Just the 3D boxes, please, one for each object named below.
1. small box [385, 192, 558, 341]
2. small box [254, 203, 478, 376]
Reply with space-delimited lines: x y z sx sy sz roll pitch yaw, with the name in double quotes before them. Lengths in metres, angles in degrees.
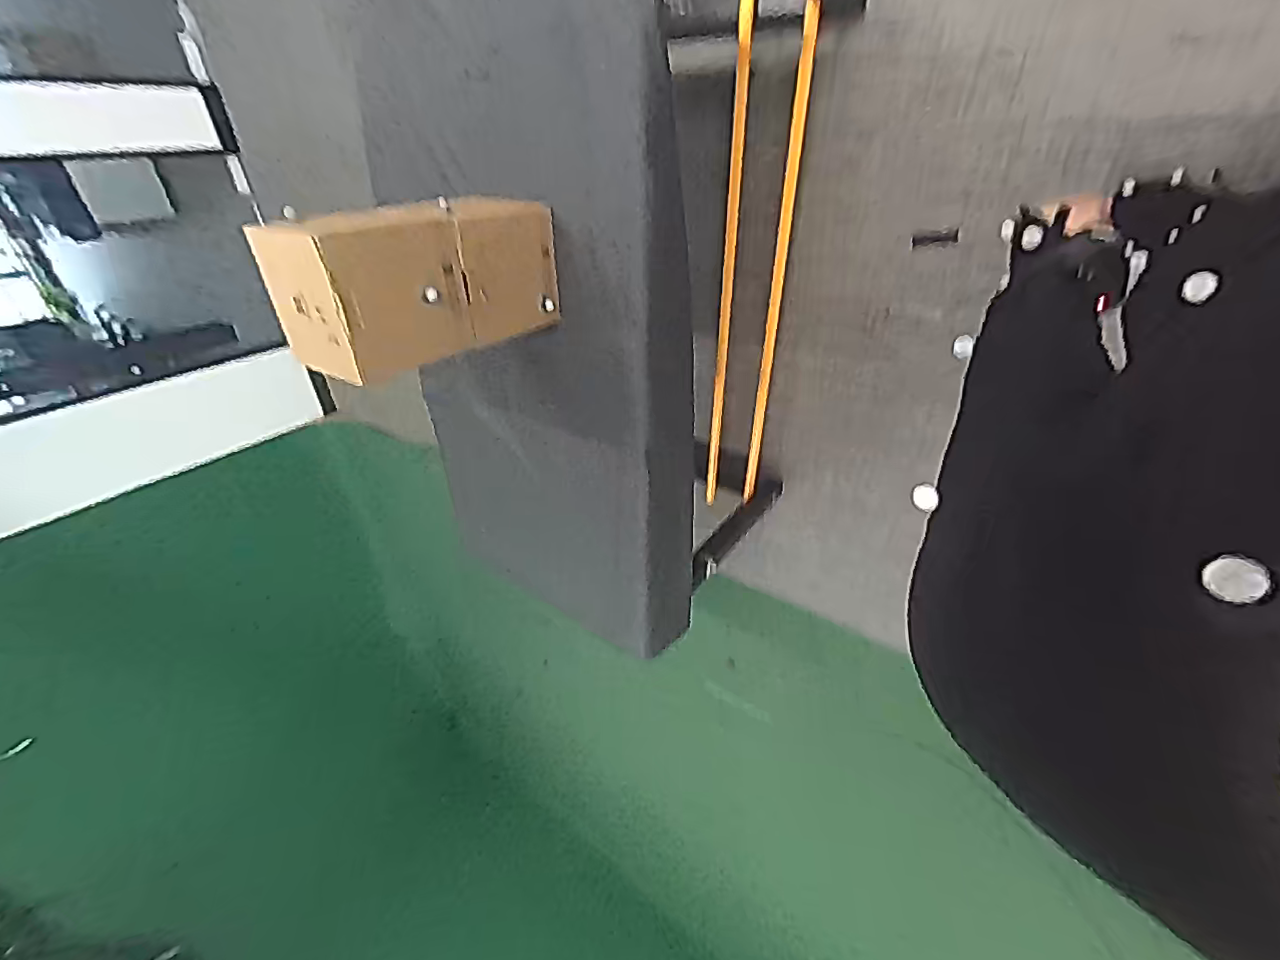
"small box" -0.235 -0.322 0.797 0.179 0.176 0.168 23 130 31
"small box" -0.337 -0.250 0.689 0.179 0.176 0.168 20 129 32
